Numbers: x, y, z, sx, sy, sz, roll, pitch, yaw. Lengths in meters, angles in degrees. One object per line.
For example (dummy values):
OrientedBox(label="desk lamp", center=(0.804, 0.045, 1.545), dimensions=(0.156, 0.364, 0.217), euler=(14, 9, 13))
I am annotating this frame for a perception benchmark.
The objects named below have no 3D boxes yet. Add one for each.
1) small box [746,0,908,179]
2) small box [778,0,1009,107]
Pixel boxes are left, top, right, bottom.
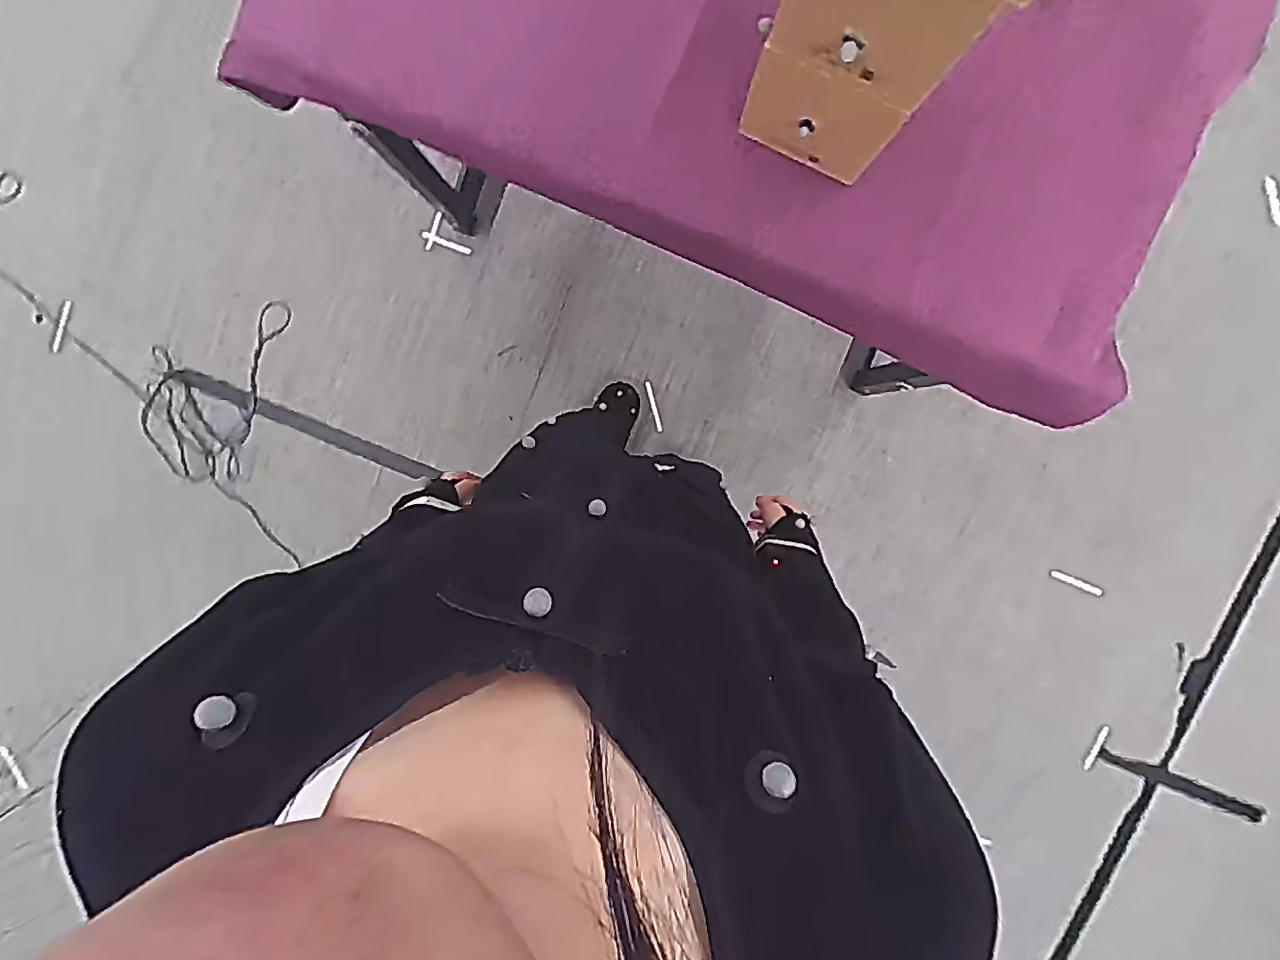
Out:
OrientedBox(label="small box", center=(0.235, -0.489, 0.621), dimensions=(0.168, 0.176, 0.179), euler=(25, 95, -2))
OrientedBox(label="small box", center=(0.237, -0.475, 0.458), dimensions=(0.168, 0.176, 0.179), euler=(24, 96, -2))
